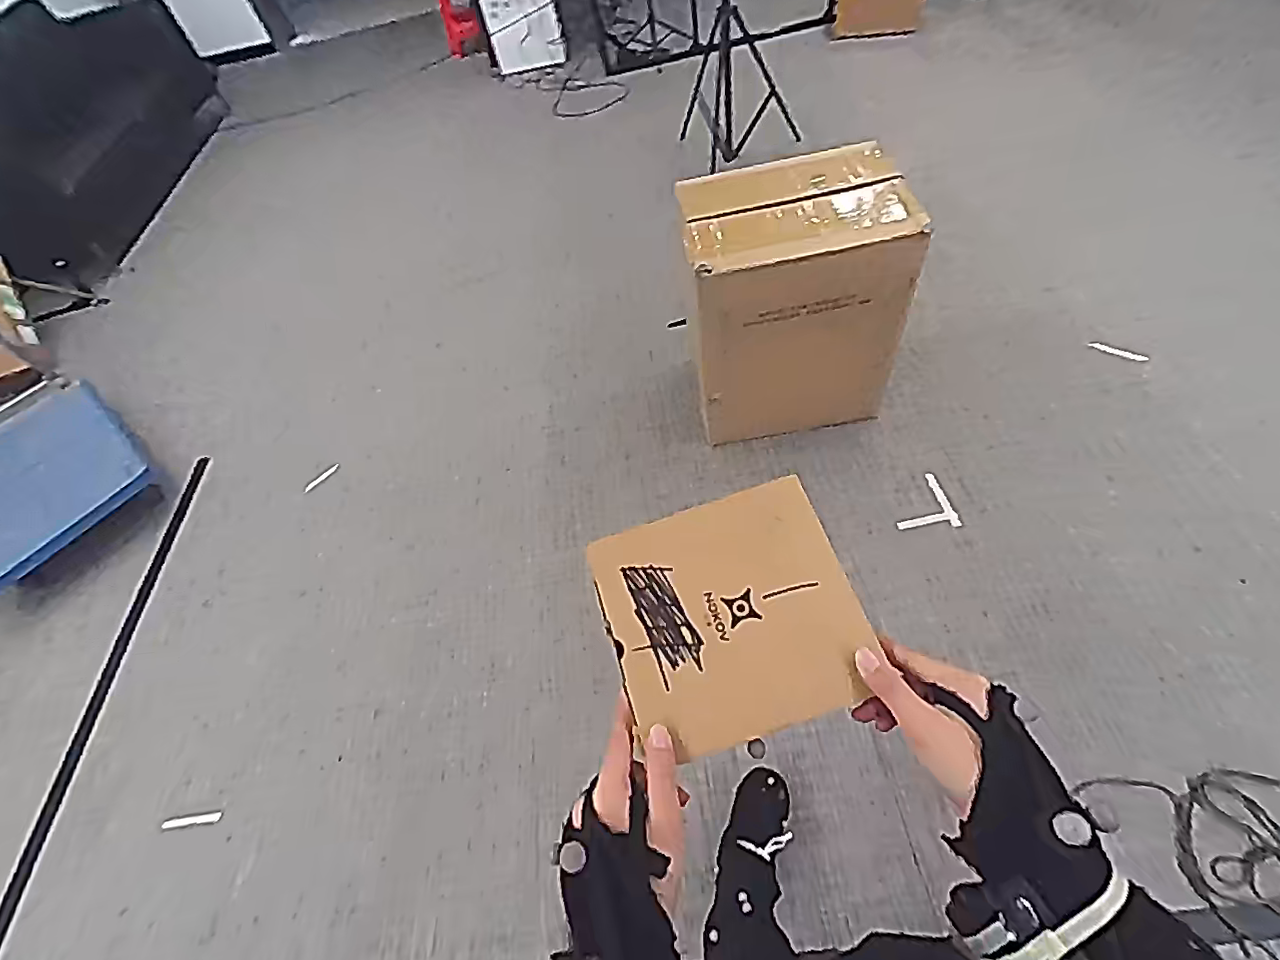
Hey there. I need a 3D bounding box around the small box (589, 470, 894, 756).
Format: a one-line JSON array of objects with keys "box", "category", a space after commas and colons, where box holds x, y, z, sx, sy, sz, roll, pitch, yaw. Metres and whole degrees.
[{"box": [0.073, 0.120, 0.457, 0.179, 0.176, 0.168, -18, 65, -2], "category": "small box"}]
